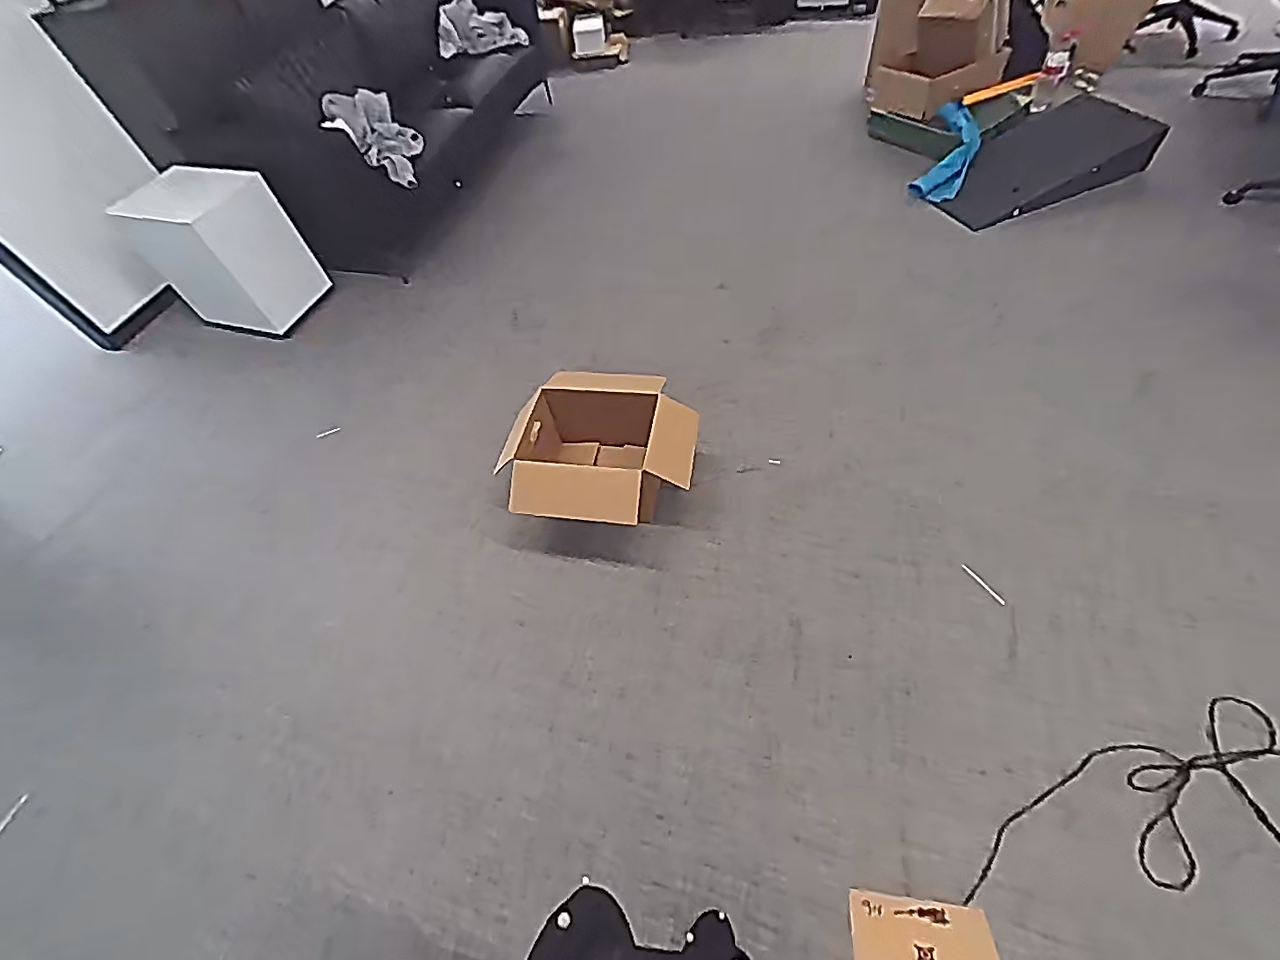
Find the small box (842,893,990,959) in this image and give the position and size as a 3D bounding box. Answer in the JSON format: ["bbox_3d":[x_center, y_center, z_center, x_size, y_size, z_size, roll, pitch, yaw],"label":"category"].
[{"bbox_3d":[0.336,0.650,0.641,0.168,0.179,0.176,-5,95,19],"label":"small box"}]
